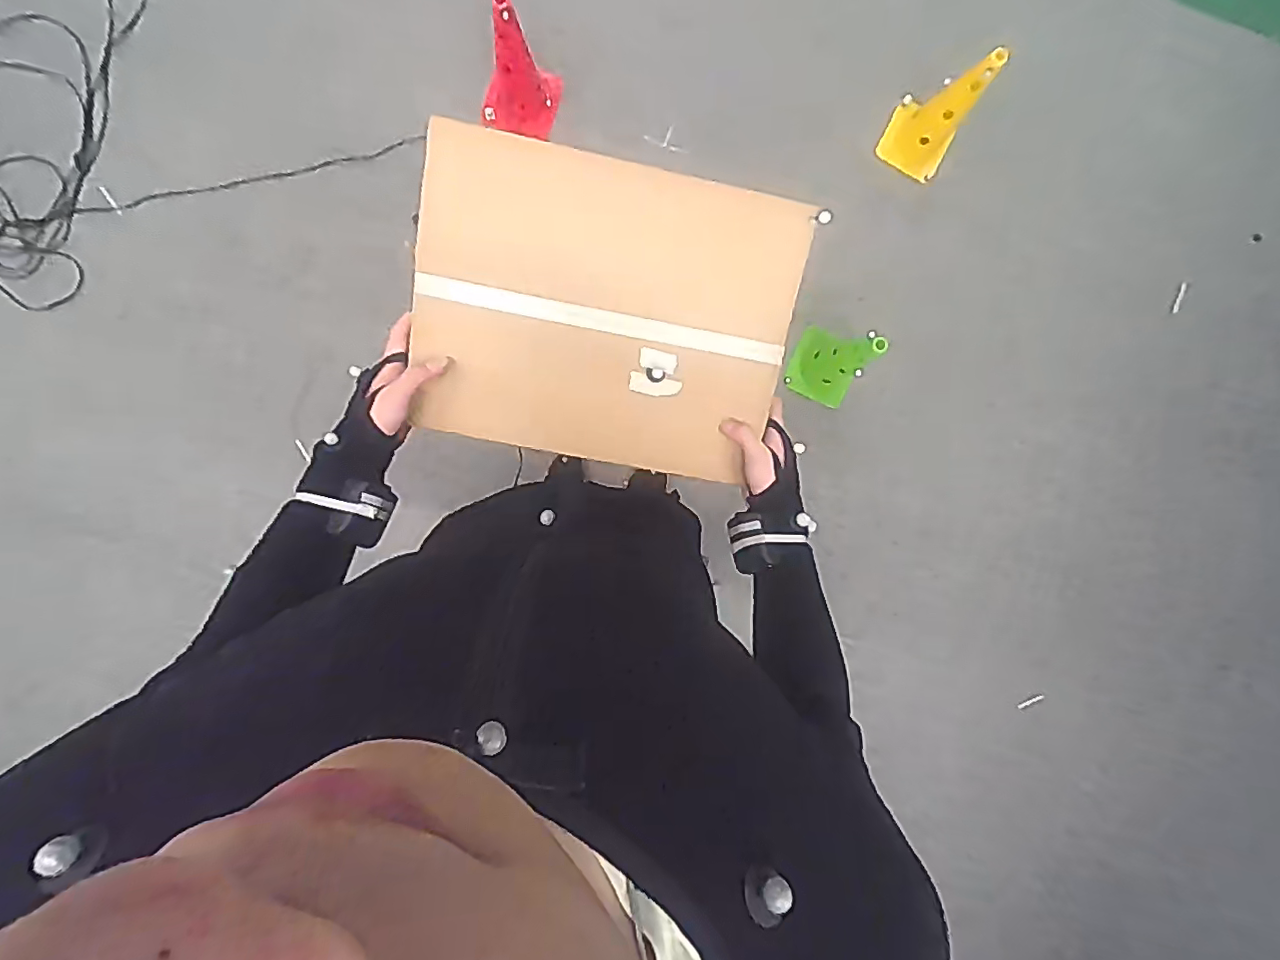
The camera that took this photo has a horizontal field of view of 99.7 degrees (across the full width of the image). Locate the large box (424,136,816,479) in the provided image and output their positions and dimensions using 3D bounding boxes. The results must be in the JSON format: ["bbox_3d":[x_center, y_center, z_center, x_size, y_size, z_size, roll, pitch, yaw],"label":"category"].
[{"bbox_3d":[-0.039,-0.212,0.742,0.408,0.320,0.320,9,105,-6],"label":"large box"}]

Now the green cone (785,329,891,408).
[{"bbox_3d":[0.586,-0.342,1.507,0.200,0.368,0.202,23,89,-5],"label":"green cone"}]
